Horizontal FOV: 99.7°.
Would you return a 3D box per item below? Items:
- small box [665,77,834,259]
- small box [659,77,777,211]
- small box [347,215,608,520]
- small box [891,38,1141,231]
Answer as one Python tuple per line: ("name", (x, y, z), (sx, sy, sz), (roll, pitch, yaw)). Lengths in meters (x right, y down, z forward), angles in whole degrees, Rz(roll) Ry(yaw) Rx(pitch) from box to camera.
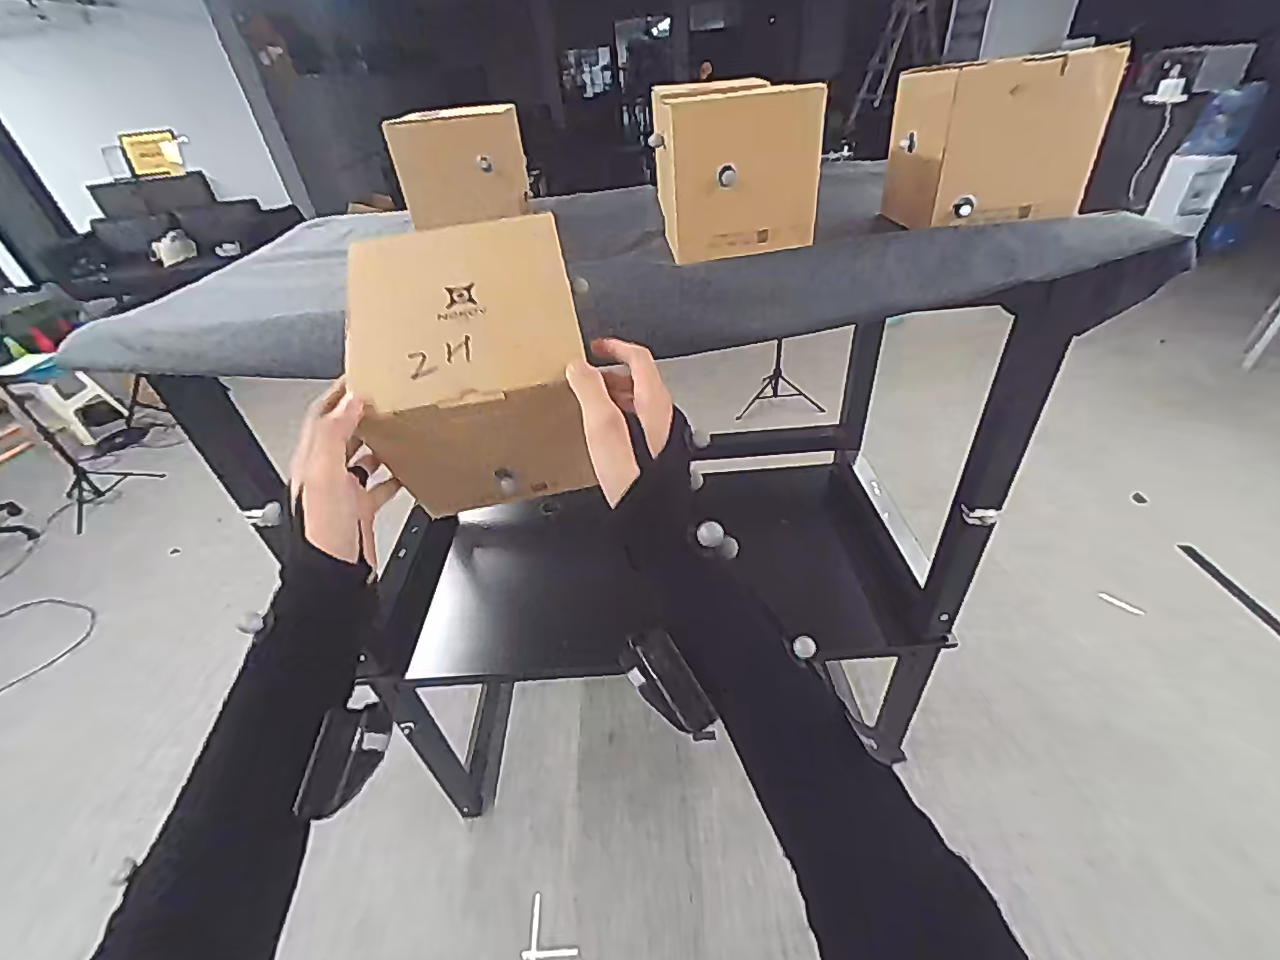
("small box", (0.123, -0.378, 0.663), (0.168, 0.176, 0.179), (-6, 35, 1))
("small box", (0.118, -0.546, 0.884), (0.168, 0.176, 0.179), (-5, 37, 1))
("small box", (-0.124, -0.088, 0.460), (0.168, 0.176, 0.179), (-11, 64, -5))
("small box", (0.423, -0.403, 0.648), (0.168, 0.176, 0.179), (-3, 34, 4))
